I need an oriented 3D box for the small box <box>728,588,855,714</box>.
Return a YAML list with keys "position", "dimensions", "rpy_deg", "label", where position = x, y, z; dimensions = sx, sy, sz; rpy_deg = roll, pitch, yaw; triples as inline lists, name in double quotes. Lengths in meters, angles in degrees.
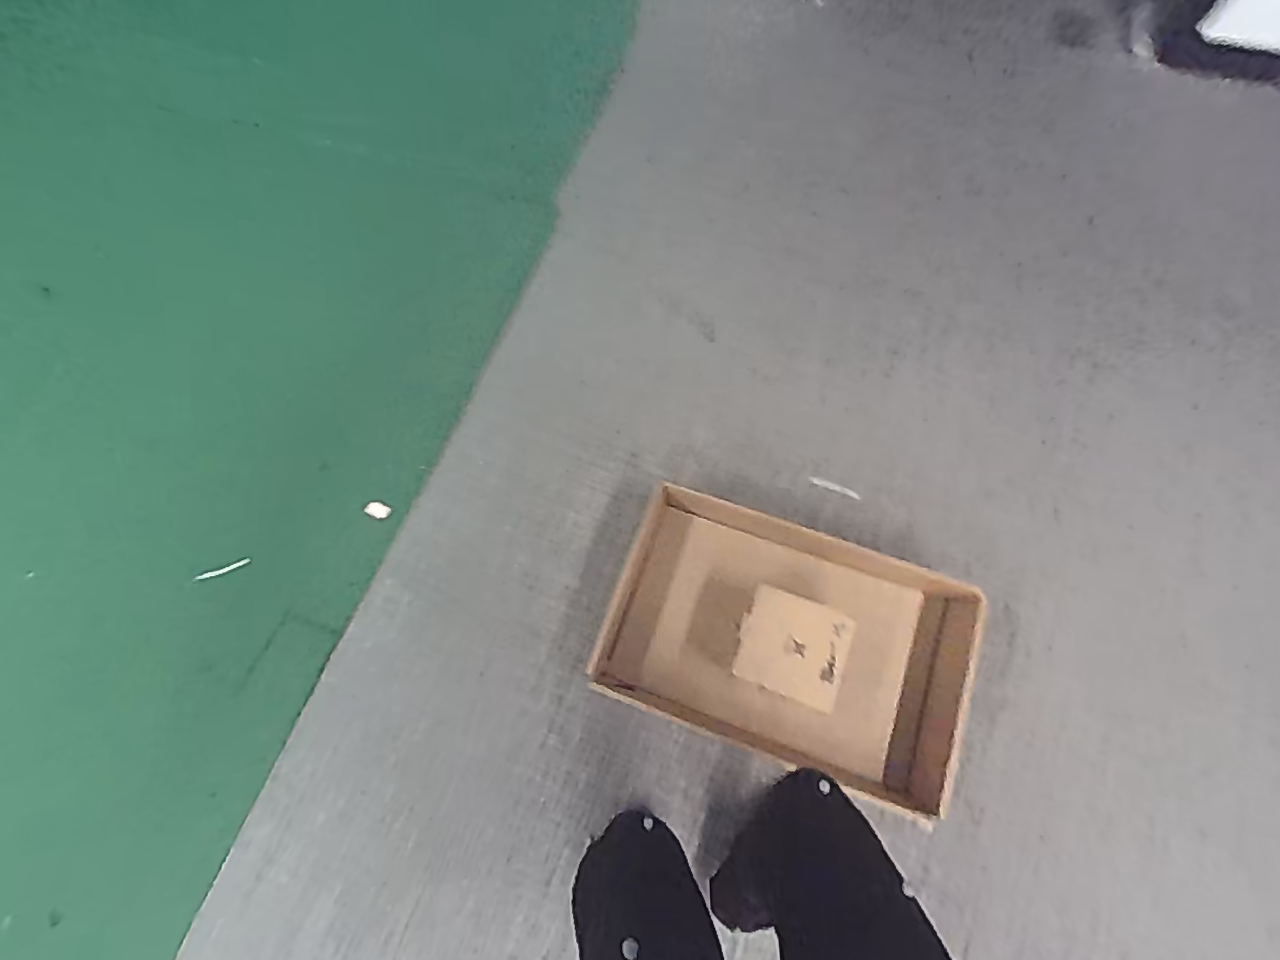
- position: [0.271, 0.316, 1.002]
  dimensions: [0.179, 0.176, 0.168]
  rpy_deg: [17, 74, 9]
  label: "small box"
